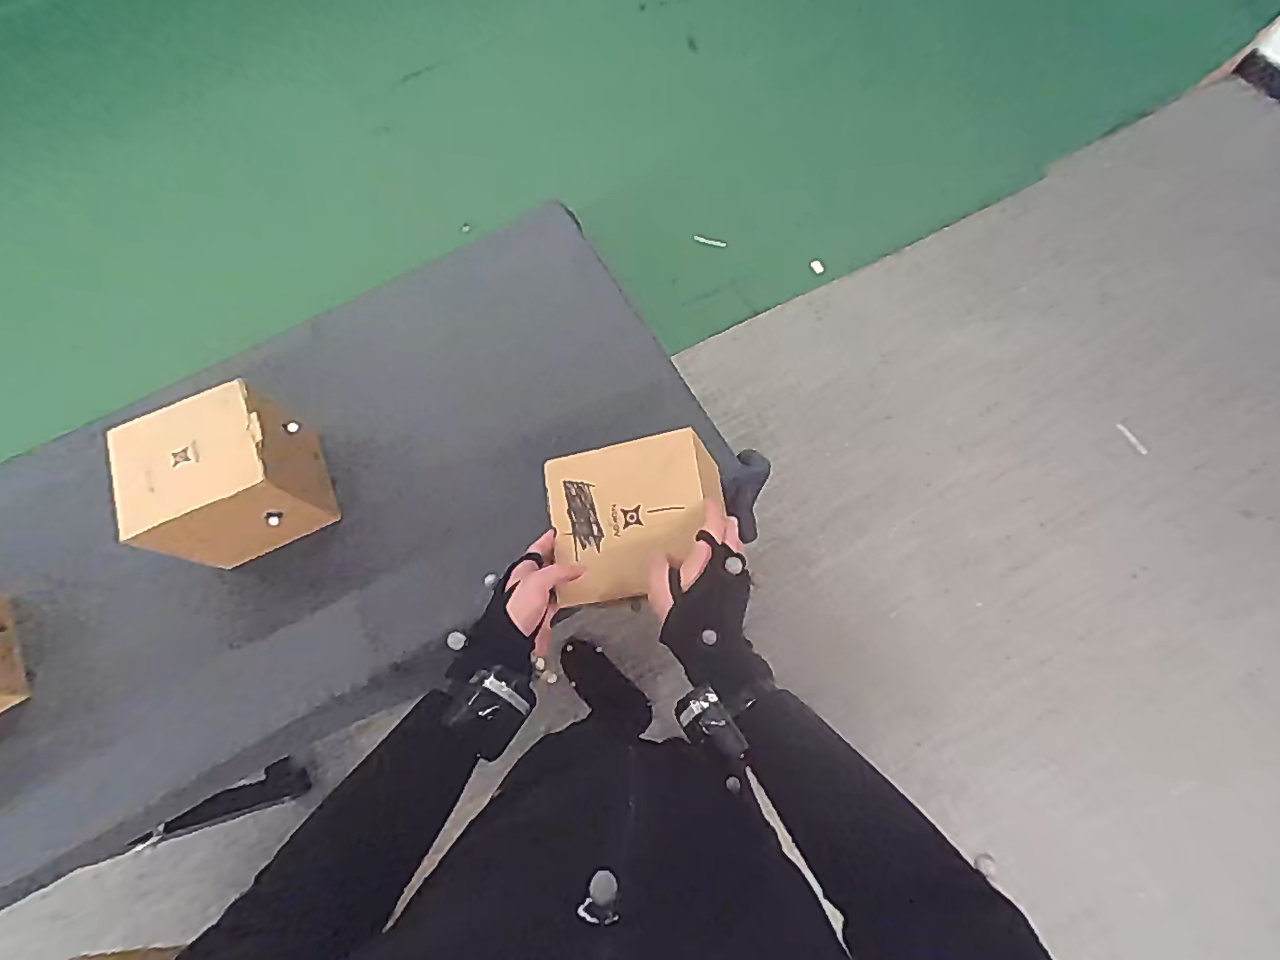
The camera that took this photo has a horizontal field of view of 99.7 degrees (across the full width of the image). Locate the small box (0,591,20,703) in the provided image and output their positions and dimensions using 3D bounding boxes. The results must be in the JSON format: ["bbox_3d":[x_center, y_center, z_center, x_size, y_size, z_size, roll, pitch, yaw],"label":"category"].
[{"bbox_3d":[-0.941,0.233,0.668,0.179,0.176,0.168,-33,72,-10],"label":"small box"}]

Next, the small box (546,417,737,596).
[{"bbox_3d":[0.007,0.044,0.640,0.179,0.176,0.168,-11,74,14],"label":"small box"}]

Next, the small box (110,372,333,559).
[{"bbox_3d":[-0.555,-0.011,0.742,0.179,0.176,0.168,-26,70,-5],"label":"small box"}]
